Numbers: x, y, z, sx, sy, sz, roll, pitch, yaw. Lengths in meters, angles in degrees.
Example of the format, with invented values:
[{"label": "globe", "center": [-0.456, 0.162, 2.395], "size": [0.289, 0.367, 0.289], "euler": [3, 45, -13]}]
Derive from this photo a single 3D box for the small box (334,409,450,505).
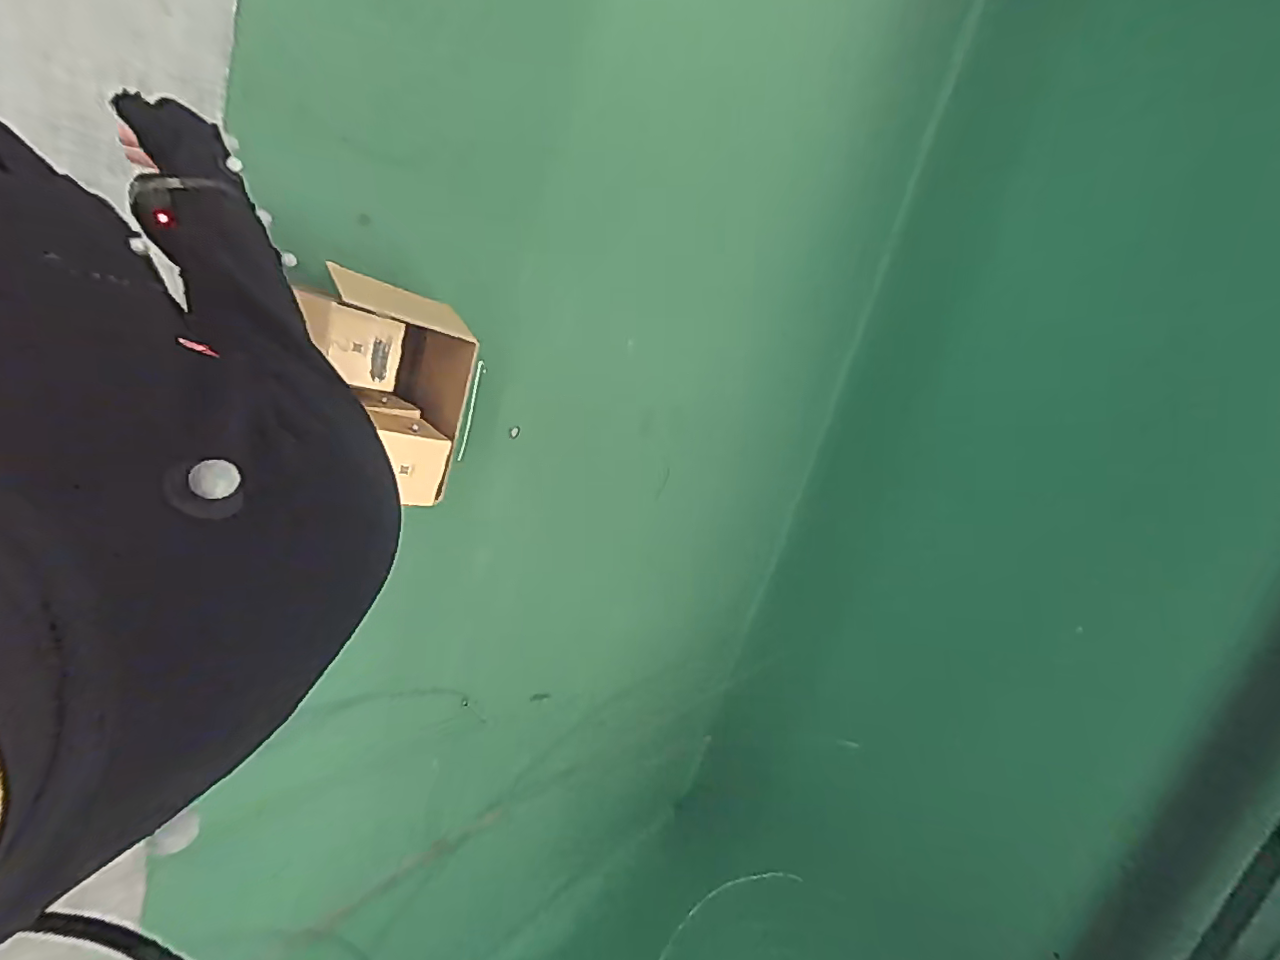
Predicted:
[{"label": "small box", "center": [-0.579, -0.054, 1.250], "size": [0.179, 0.176, 0.168], "euler": [9, 106, -50]}]
